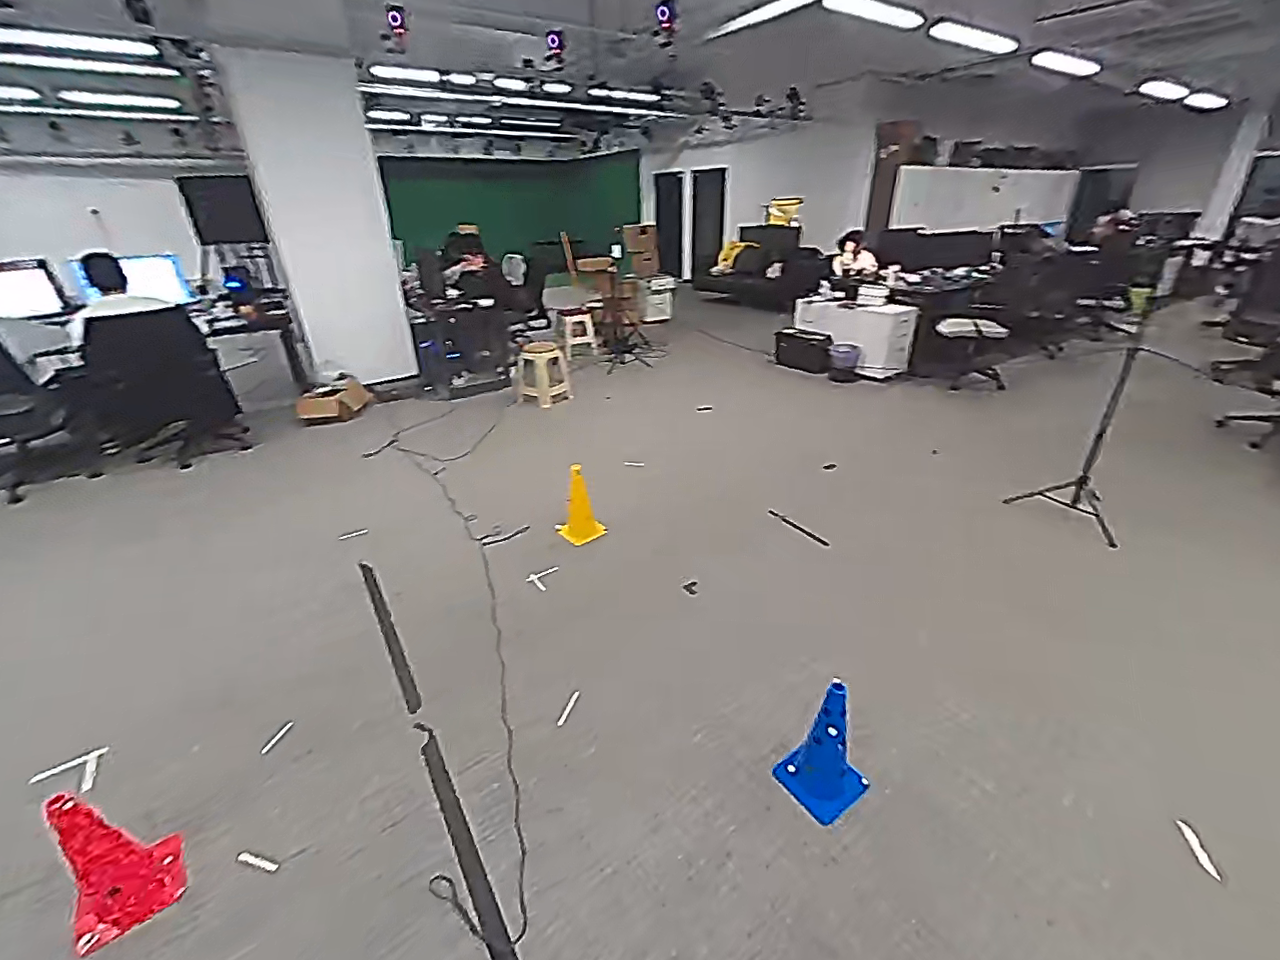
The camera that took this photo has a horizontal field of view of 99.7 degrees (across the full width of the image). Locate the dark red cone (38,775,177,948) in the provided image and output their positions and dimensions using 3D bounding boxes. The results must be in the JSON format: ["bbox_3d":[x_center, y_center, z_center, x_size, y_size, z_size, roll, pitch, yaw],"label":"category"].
[{"bbox_3d":[-1.230,0.809,1.209,0.201,0.394,0.202,-22,33,-36],"label":"dark red cone"}]

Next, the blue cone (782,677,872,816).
[{"bbox_3d":[0.512,0.674,1.428,0.192,0.380,0.193,-17,30,-29],"label":"blue cone"}]
